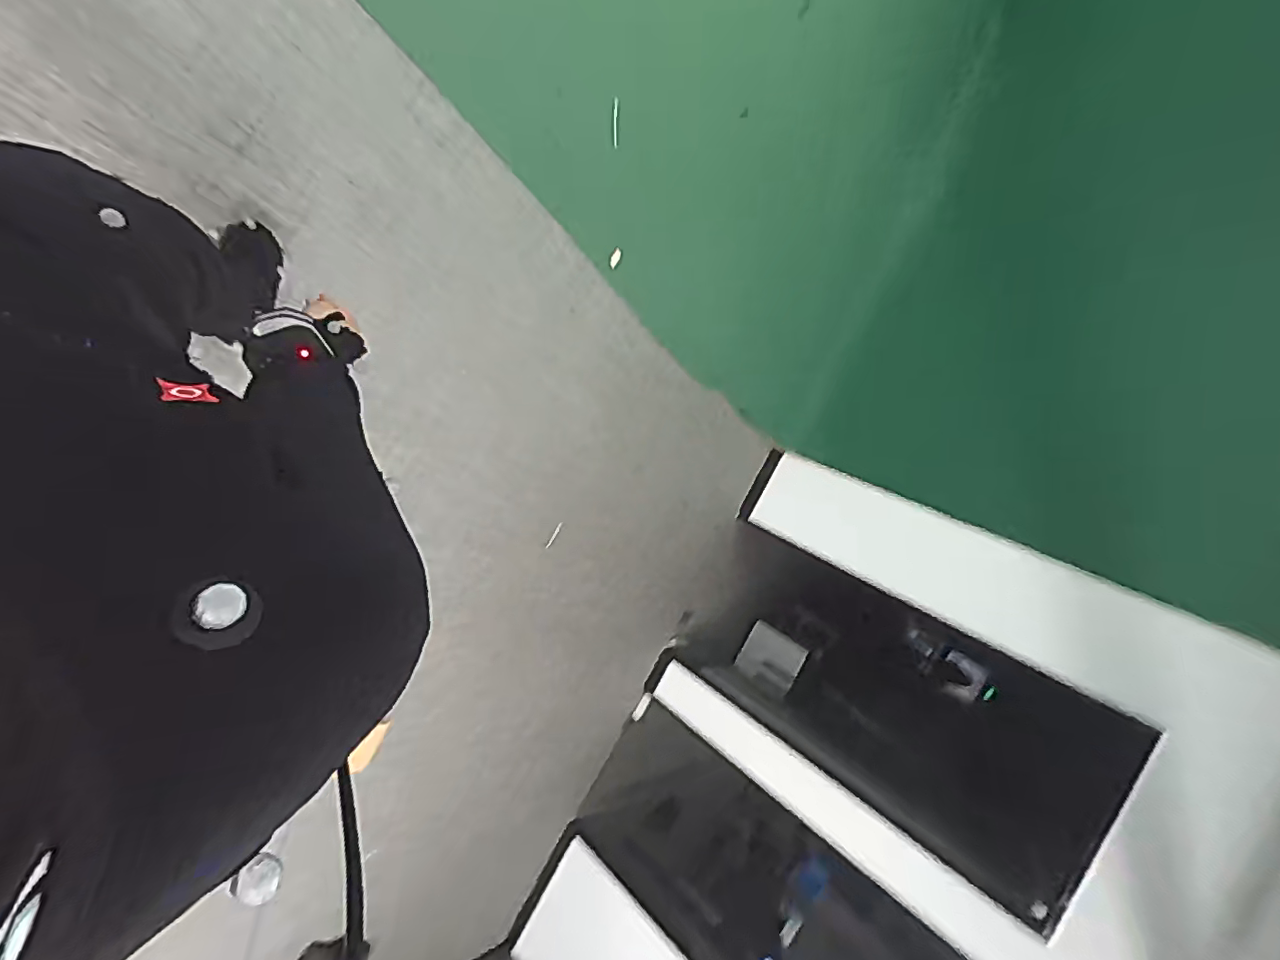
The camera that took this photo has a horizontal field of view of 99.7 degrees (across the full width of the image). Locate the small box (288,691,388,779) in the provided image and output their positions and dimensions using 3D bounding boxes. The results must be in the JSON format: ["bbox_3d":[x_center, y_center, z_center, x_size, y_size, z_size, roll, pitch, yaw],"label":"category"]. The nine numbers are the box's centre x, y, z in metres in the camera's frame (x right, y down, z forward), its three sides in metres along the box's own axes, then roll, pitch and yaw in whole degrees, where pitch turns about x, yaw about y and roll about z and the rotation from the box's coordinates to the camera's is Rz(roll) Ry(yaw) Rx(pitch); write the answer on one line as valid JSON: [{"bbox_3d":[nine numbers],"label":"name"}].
[{"bbox_3d":[-0.904,0.751,1.617,0.179,0.176,0.168,27,92,-55],"label":"small box"}]
